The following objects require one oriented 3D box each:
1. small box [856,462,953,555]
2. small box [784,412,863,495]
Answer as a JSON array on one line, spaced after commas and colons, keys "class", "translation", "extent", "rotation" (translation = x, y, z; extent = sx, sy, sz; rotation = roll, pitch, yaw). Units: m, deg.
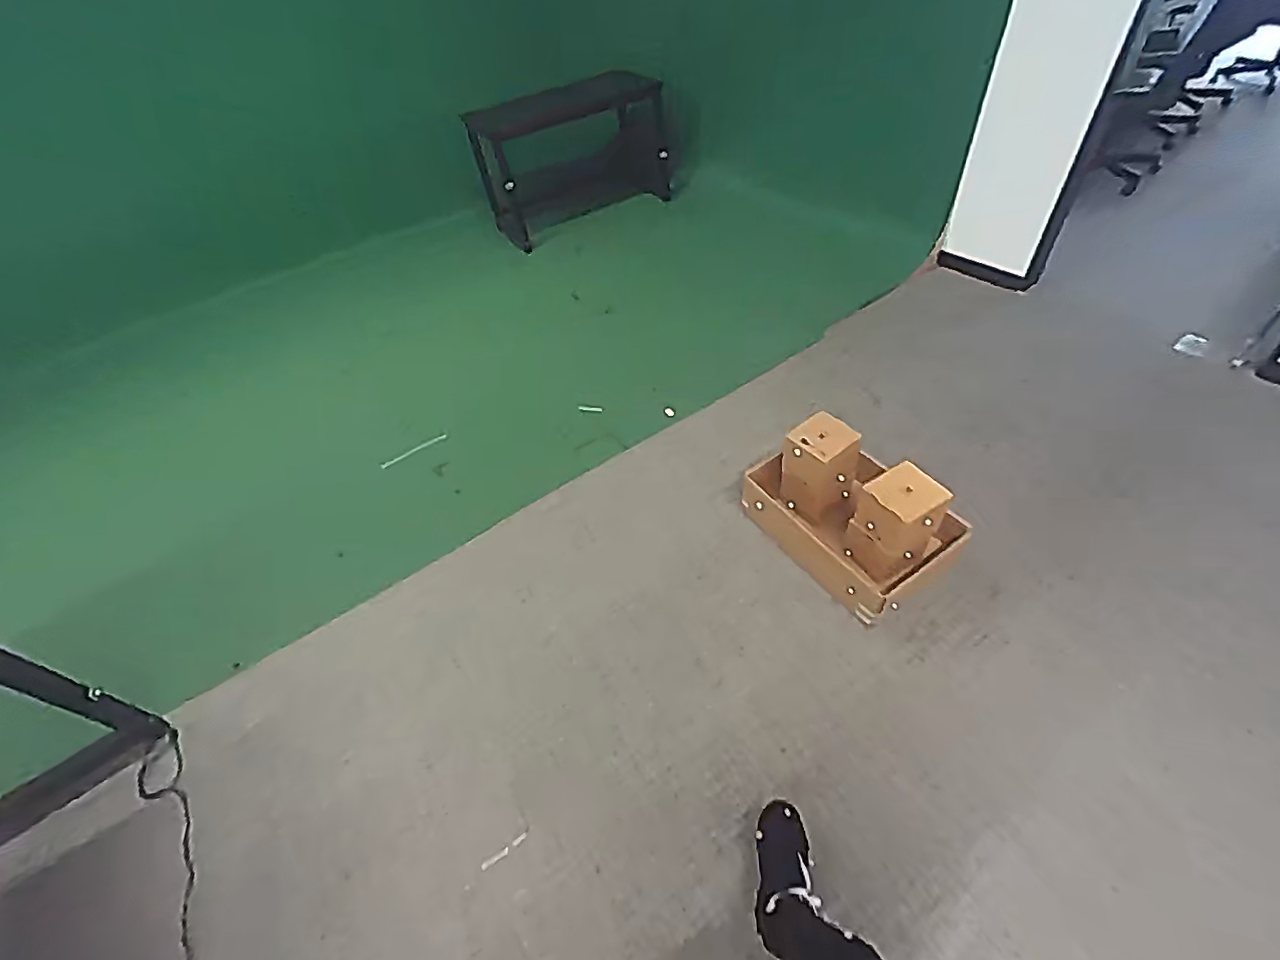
[{"class": "small box", "translation": [0.760, 0.085, 1.575], "extent": [0.179, 0.176, 0.168], "rotation": [-27, 50, -14]}, {"class": "small box", "translation": [0.587, -0.085, 1.752], "extent": [0.179, 0.176, 0.168], "rotation": [-31, 50, -19]}]
